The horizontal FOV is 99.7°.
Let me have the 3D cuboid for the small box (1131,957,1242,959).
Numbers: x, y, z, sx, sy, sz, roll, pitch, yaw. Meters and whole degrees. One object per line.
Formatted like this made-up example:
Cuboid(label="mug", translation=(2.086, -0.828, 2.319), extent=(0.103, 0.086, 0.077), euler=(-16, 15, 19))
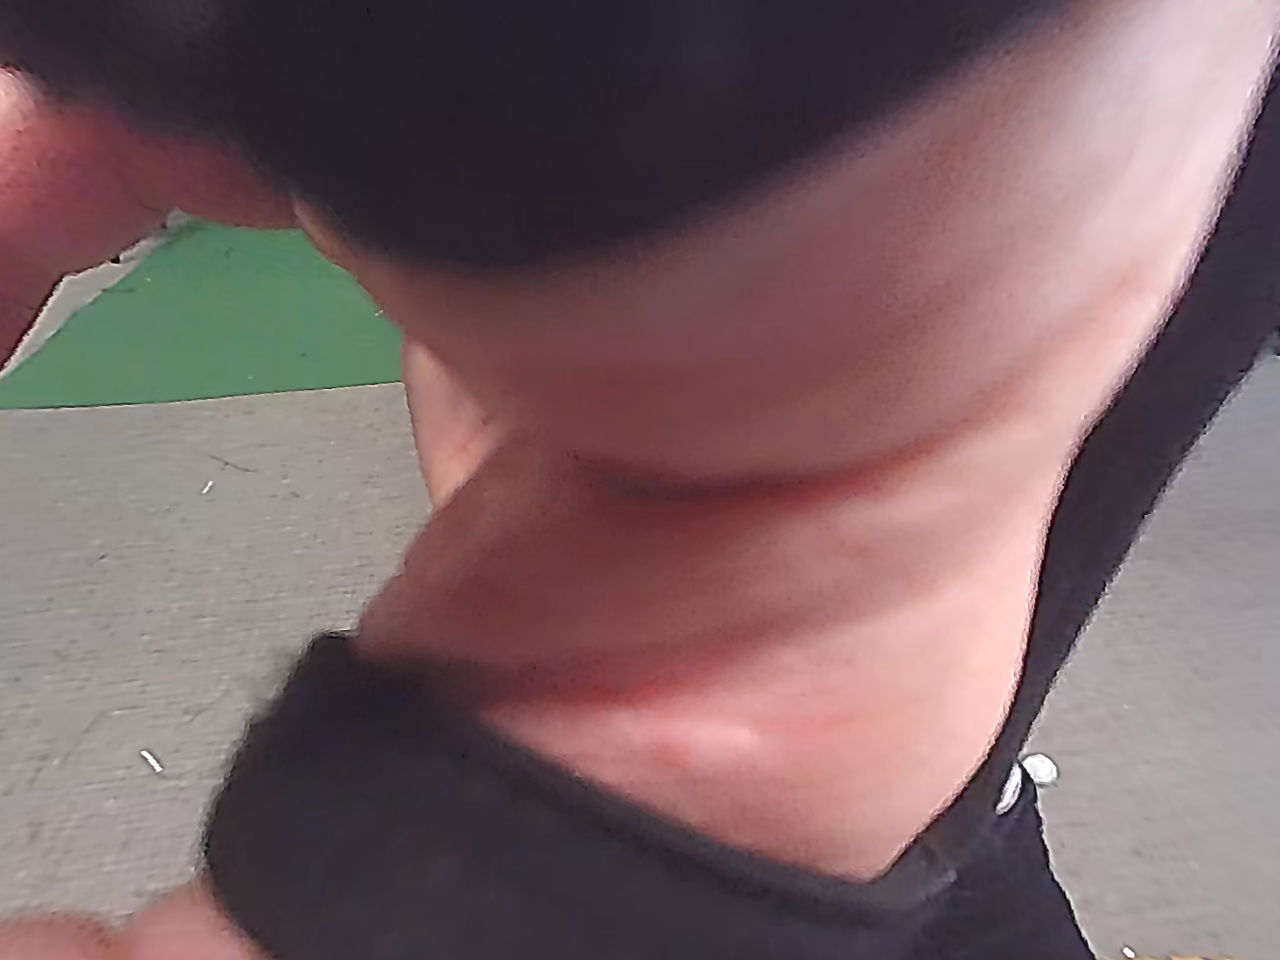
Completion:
Cuboid(label="small box", translation=(0.811, 0.822, 0.795), extent=(0.168, 0.176, 0.179), euler=(-2, 48, 1))
